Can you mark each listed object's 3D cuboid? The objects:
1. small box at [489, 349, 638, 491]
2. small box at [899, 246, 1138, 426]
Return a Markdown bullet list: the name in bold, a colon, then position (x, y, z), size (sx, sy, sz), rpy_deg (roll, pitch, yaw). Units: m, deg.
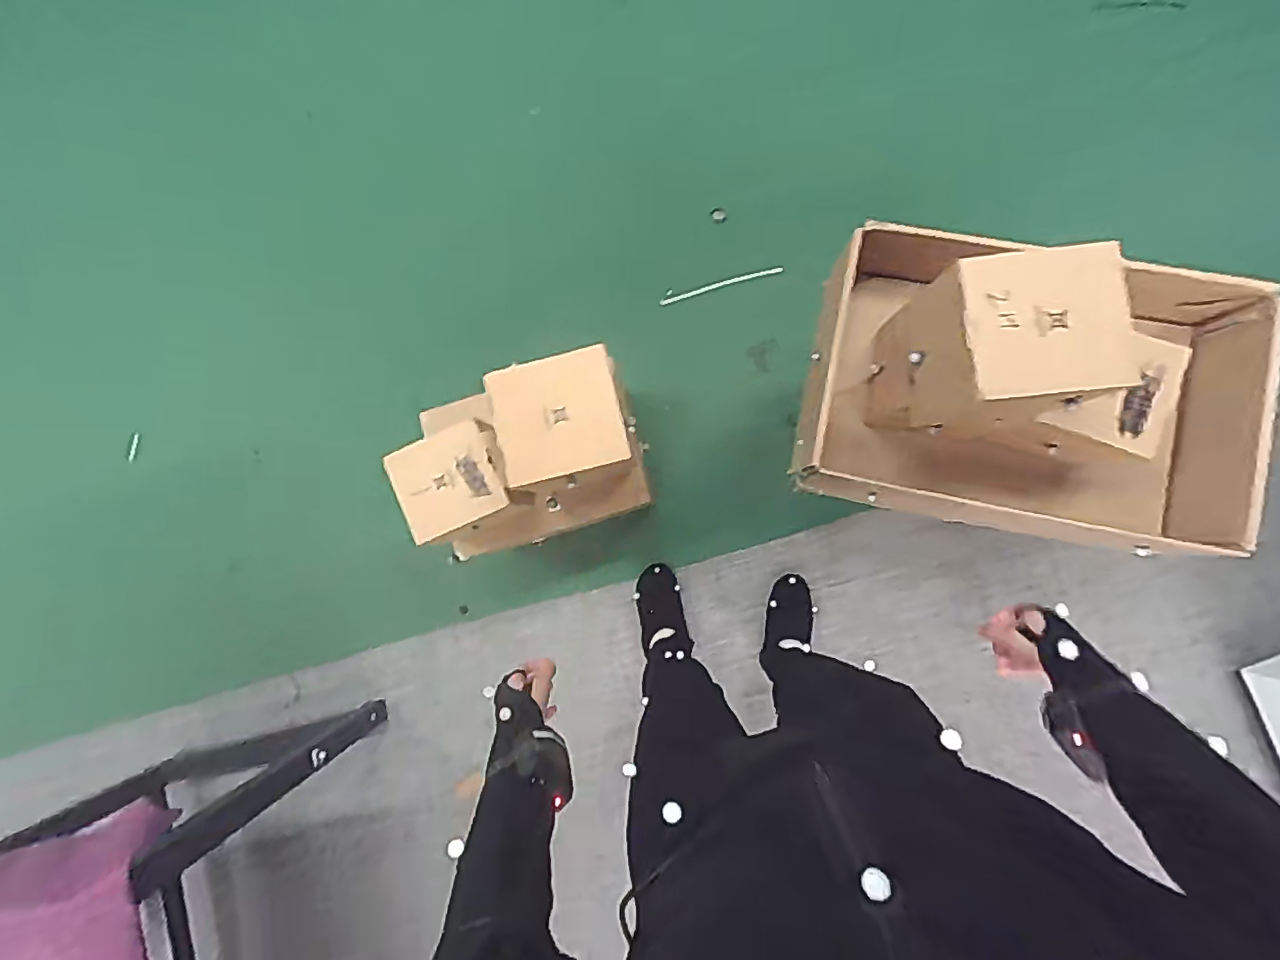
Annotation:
- **small box**: position (-0.104, -0.081, 0.825), size (0.179, 0.176, 0.168), rpy_deg (-14, 86, 4)
- **small box**: position (0.455, -0.167, 0.678), size (0.179, 0.176, 0.168), rpy_deg (-5, 85, 3)
